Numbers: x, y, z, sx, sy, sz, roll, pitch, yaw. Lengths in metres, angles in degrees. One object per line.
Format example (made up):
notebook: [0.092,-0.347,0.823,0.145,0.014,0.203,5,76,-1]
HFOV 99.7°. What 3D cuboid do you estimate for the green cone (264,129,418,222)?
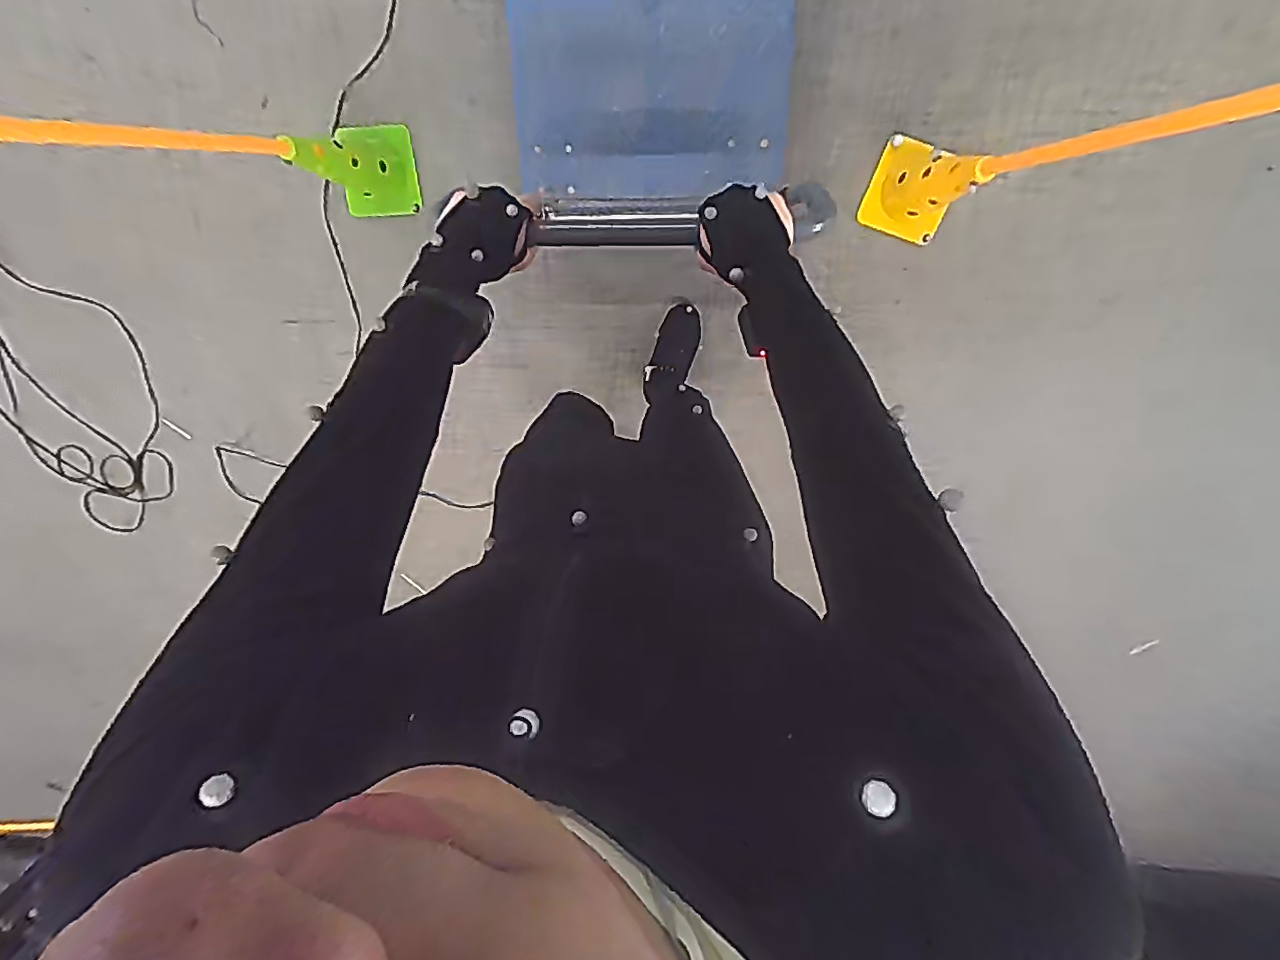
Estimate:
green cone: [-0.691,-0.707,1.215,0.202,0.368,0.200,-1,112,7]
